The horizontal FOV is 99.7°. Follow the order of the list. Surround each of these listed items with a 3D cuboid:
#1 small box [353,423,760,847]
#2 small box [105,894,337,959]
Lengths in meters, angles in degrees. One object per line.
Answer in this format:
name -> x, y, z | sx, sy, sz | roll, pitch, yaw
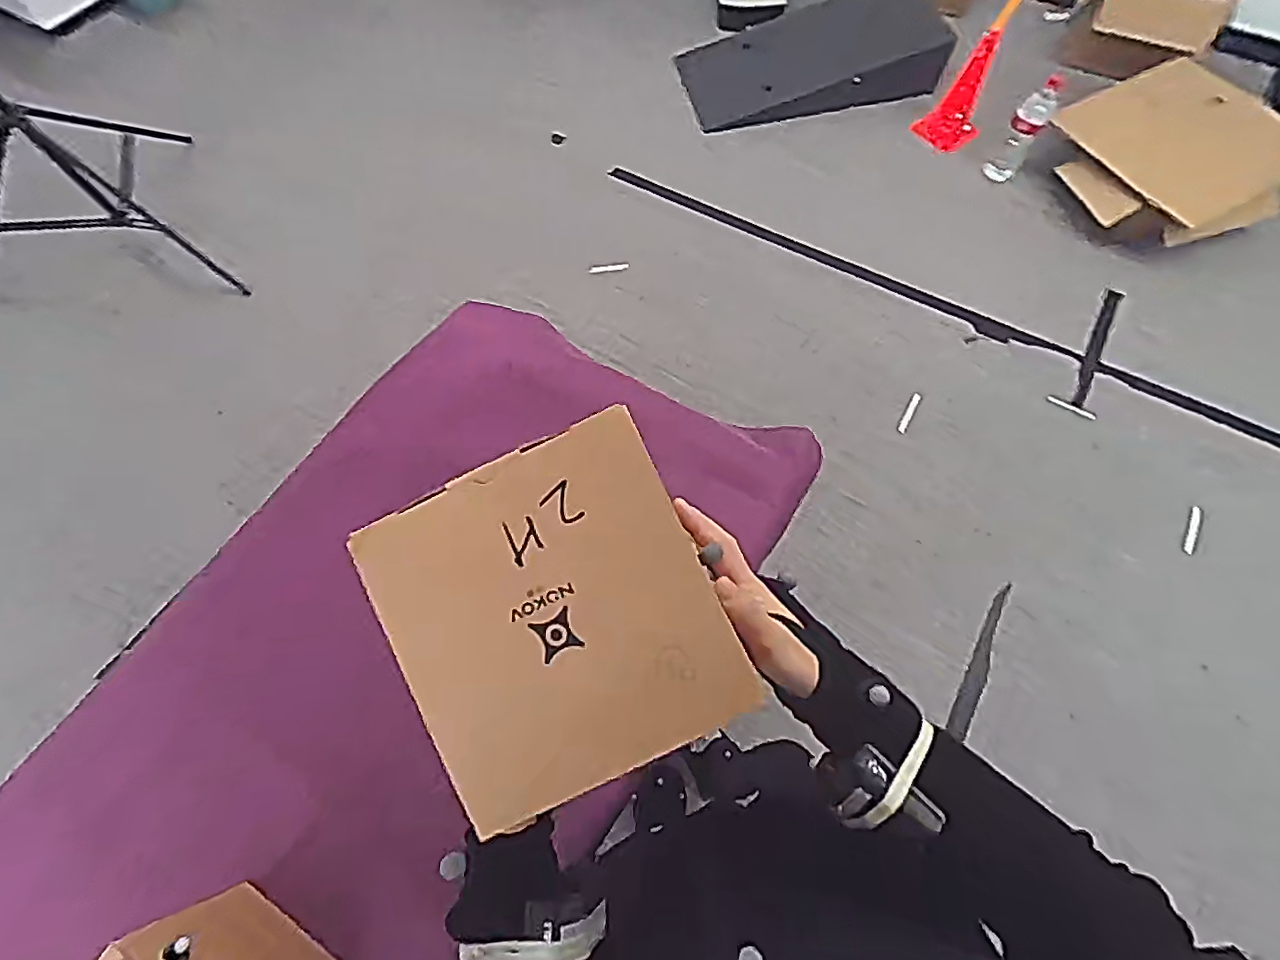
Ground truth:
small box -> -0.041, 0.083, 0.360 | 0.168, 0.176, 0.179 | -25, 86, 0
small box -> -0.393, 0.514, 0.473 | 0.179, 0.176, 0.168 | 28, 70, 12
